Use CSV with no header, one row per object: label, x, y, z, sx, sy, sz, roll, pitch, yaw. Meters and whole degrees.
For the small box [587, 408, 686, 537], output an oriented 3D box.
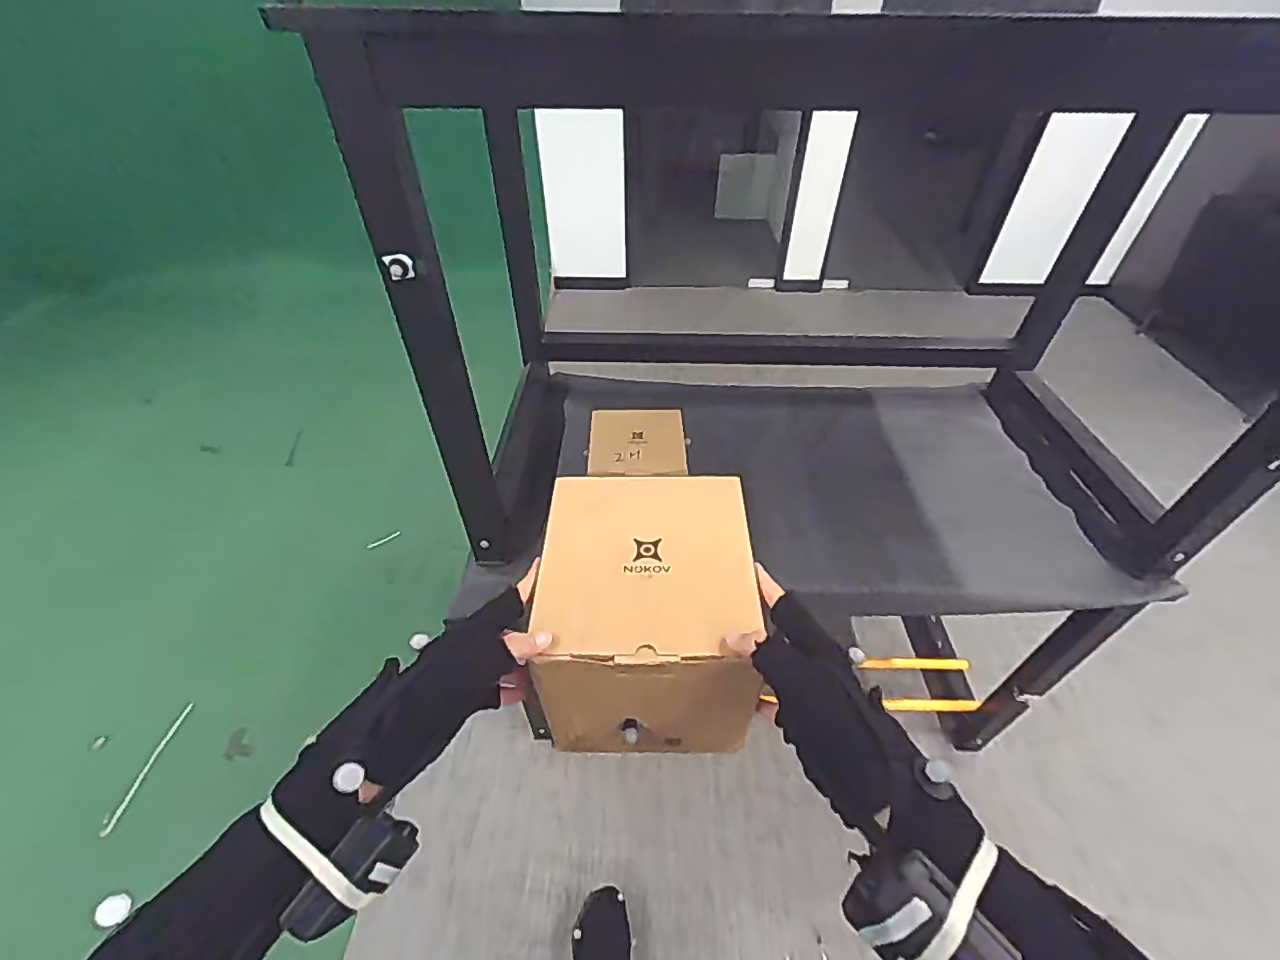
small box,-0.007,-0.015,0.998,0.168,0.176,0.179,-1,43,0
